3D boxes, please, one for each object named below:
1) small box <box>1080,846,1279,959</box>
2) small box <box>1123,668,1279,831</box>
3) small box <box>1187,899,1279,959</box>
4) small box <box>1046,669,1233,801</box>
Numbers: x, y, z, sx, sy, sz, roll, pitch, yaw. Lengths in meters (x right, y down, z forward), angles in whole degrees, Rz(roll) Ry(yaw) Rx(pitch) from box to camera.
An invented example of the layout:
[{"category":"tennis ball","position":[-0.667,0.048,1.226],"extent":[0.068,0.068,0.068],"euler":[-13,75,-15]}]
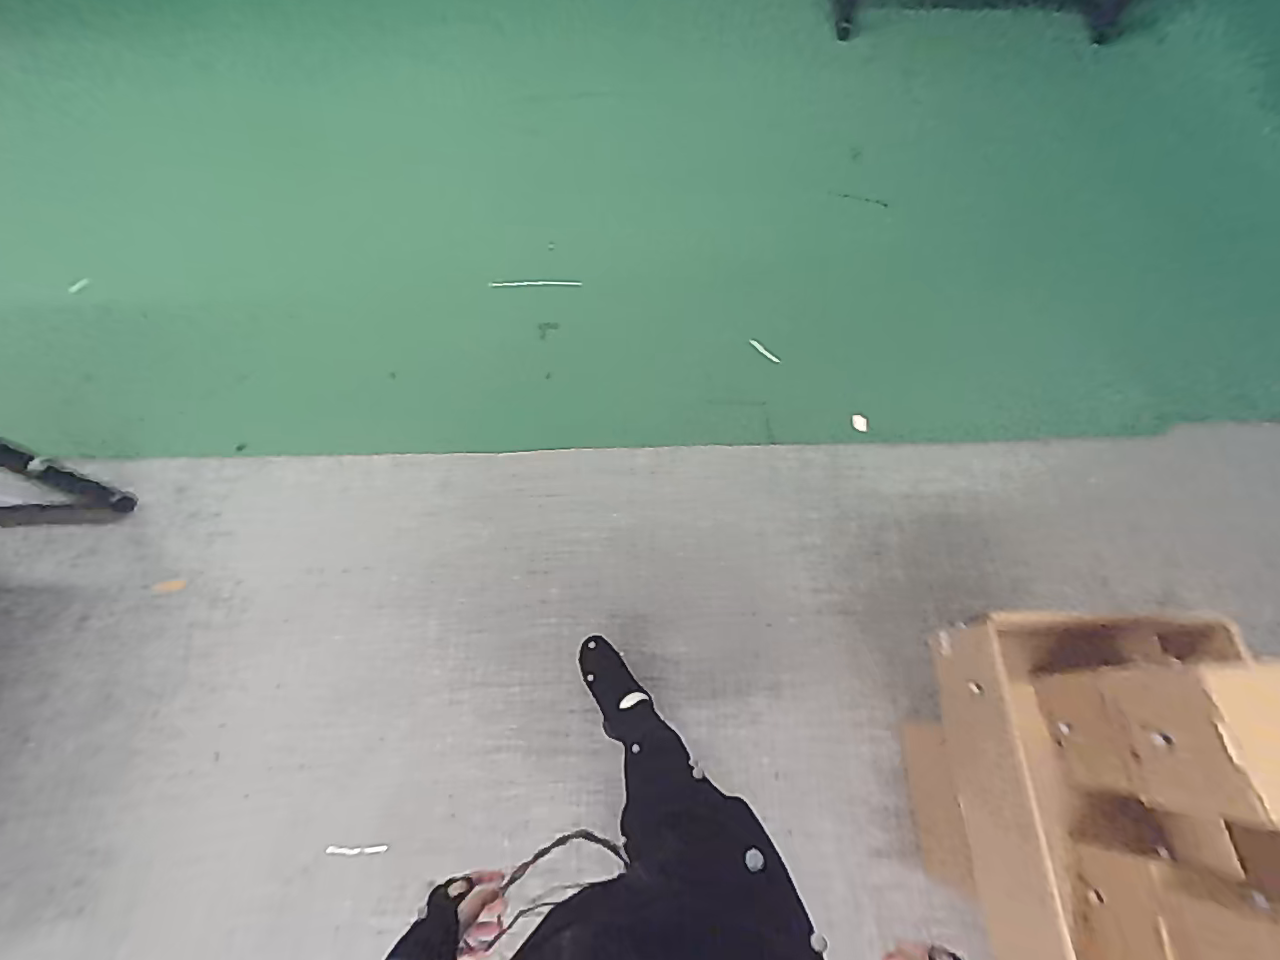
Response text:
[{"category":"small box","position":[0.747,0.620,0.726],"extent":[0.179,0.176,0.168],"euler":[9,67,7]},{"category":"small box","position":[0.761,0.326,0.672],"extent":[0.179,0.176,0.168],"euler":[-4,67,2]},{"category":"small box","position":[0.742,0.572,0.569],"extent":[0.179,0.176,0.168],"euler":[5,68,5]},{"category":"small box","position":[0.782,0.382,0.826],"extent":[0.179,0.176,0.168],"euler":[-3,66,1]}]
